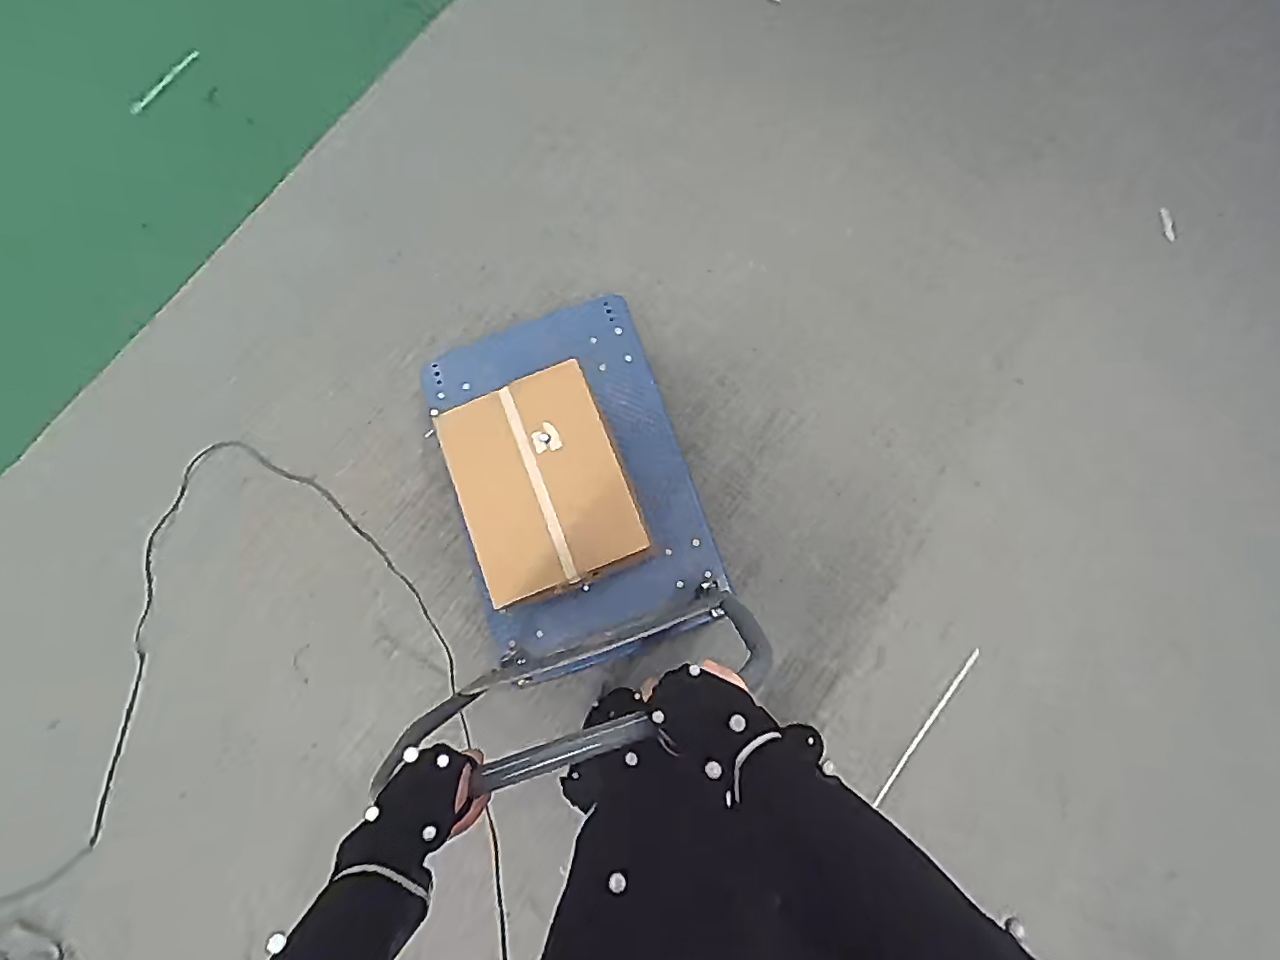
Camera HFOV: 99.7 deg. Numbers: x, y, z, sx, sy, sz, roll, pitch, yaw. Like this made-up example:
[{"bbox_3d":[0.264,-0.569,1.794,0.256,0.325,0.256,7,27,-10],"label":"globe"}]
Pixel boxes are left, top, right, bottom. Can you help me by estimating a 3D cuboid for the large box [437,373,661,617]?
[{"bbox_3d":[-0.178,0.048,1.186,0.320,0.320,0.408,-23,78,0],"label":"large box"}]
